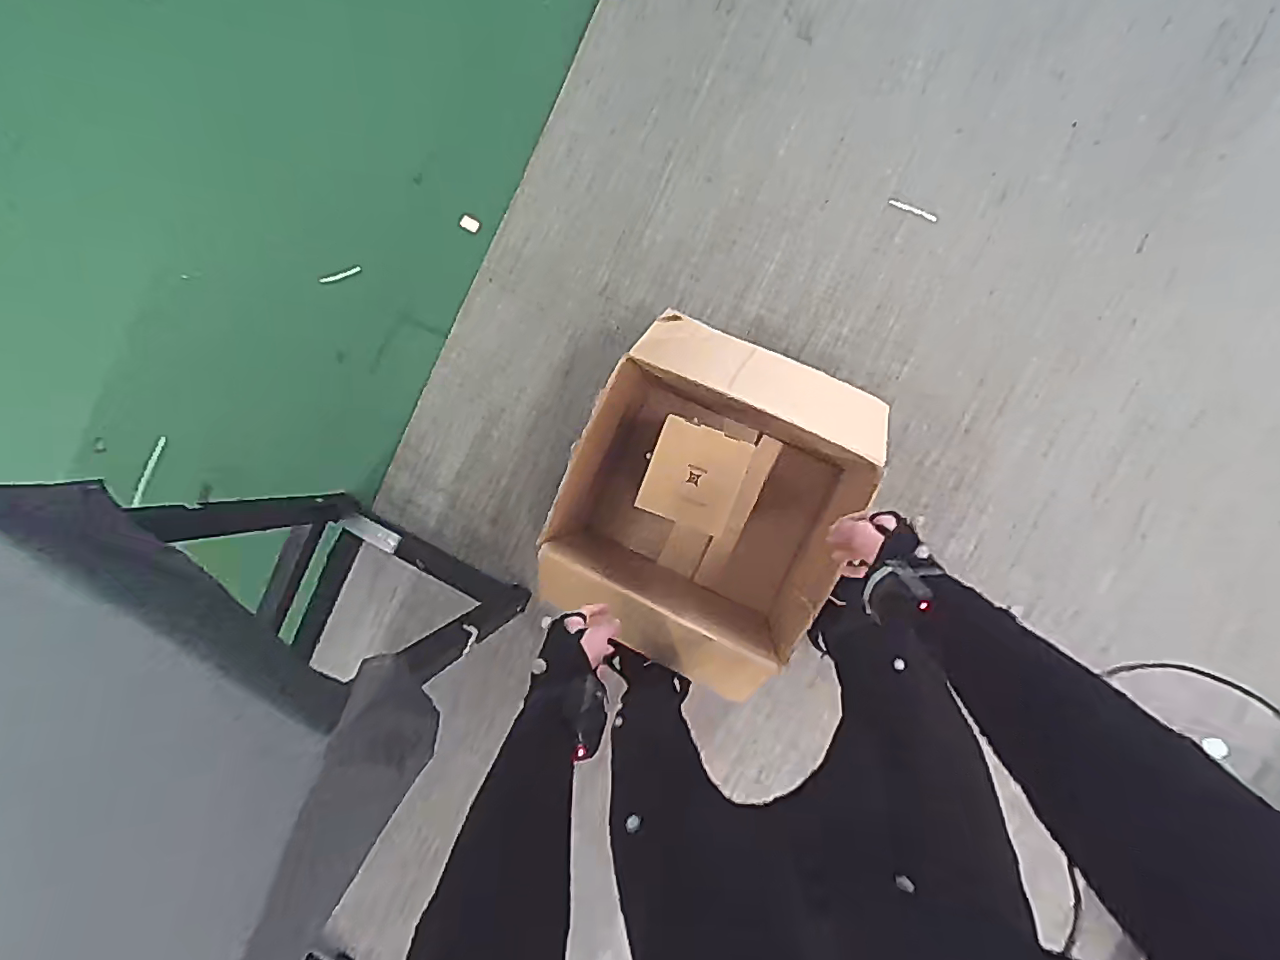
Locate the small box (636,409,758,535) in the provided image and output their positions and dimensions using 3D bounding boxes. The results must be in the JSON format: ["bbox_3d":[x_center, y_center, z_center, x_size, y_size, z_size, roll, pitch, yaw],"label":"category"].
[{"bbox_3d":[0.103,-0.017,1.011,0.168,0.176,0.179,22,95,5],"label":"small box"}]
